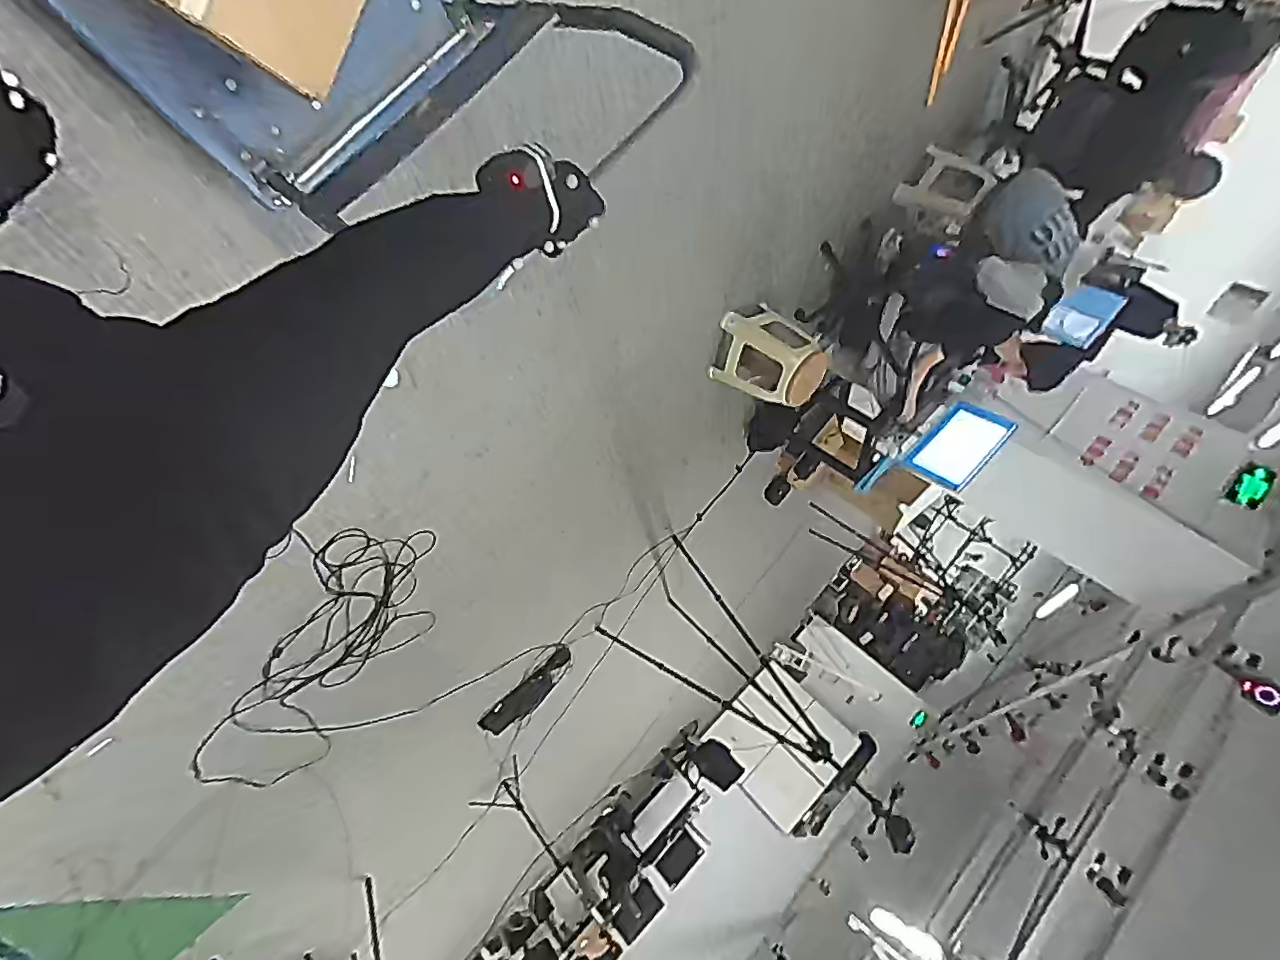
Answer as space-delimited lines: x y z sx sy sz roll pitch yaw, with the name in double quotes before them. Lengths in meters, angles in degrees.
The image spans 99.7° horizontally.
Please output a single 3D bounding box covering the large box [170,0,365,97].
"large box" -0.521 -0.802 0.660 0.320 0.320 0.408 10 117 -57
